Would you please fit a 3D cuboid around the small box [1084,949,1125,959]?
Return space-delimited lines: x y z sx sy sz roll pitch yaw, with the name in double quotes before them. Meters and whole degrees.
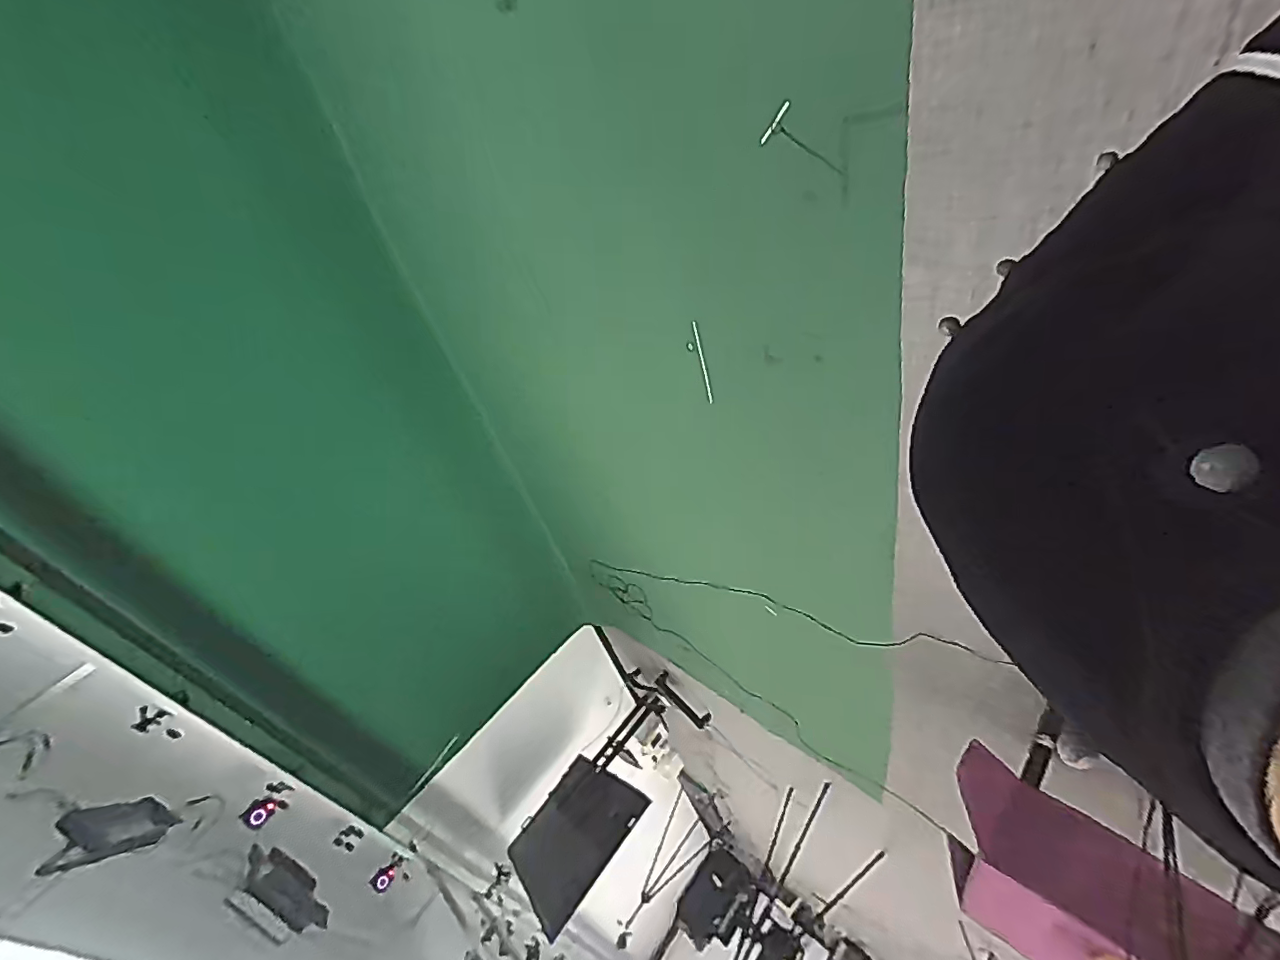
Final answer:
"small box" 1.288 1.404 1.439 0.168 0.176 0.179 25 147 36
